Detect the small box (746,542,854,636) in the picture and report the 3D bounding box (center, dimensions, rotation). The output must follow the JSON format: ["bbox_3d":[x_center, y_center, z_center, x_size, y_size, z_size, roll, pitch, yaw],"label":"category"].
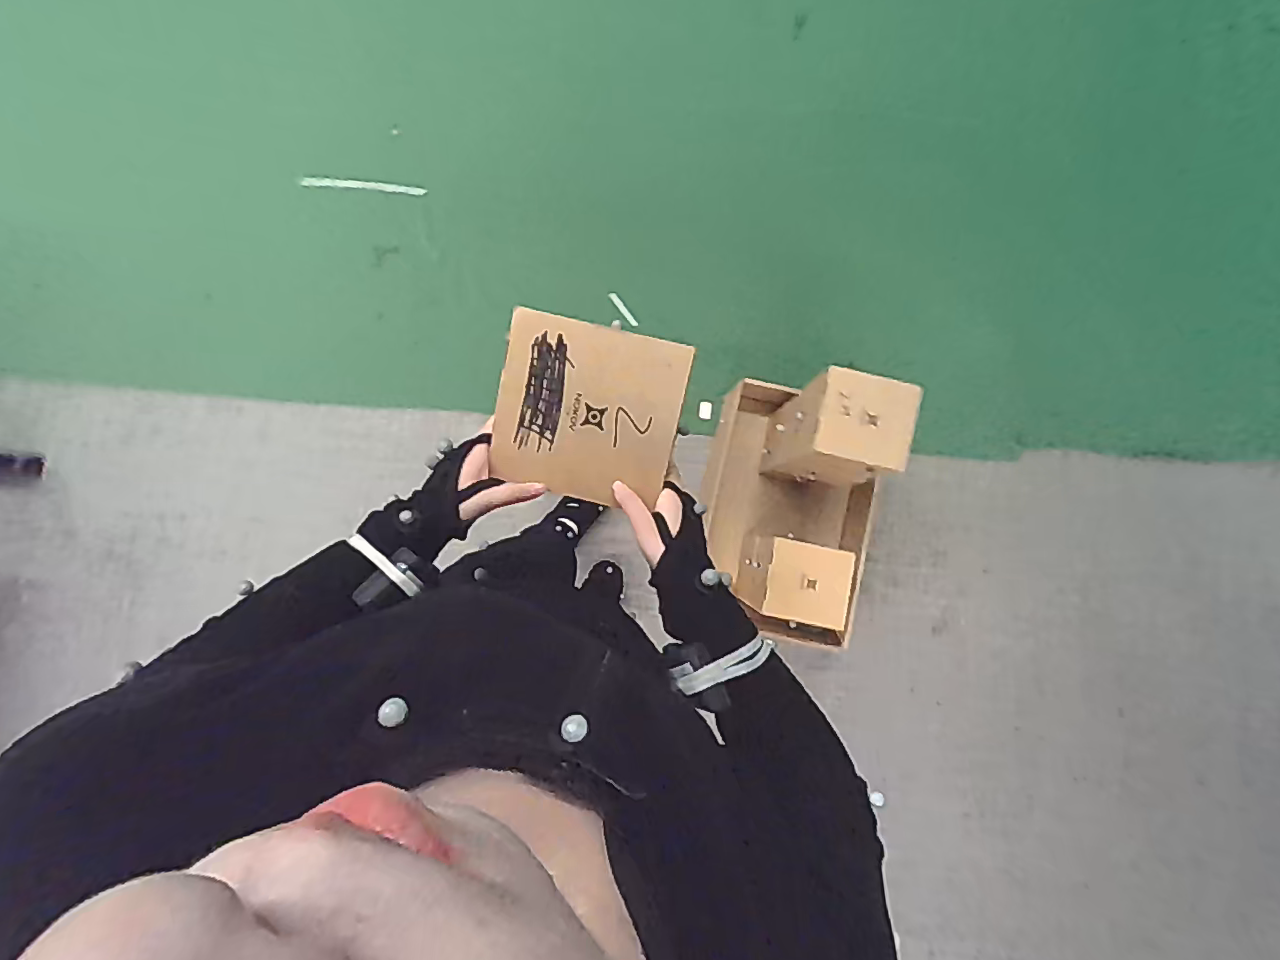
[{"bbox_3d":[0.352,0.235,1.214,0.179,0.176,0.168,12,85,2],"label":"small box"}]

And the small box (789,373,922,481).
[{"bbox_3d":[0.420,-0.097,1.079,0.179,0.176,0.168,15,86,1],"label":"small box"}]

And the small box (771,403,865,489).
[{"bbox_3d":[0.421,-0.081,1.243,0.179,0.176,0.168,17,86,2],"label":"small box"}]
